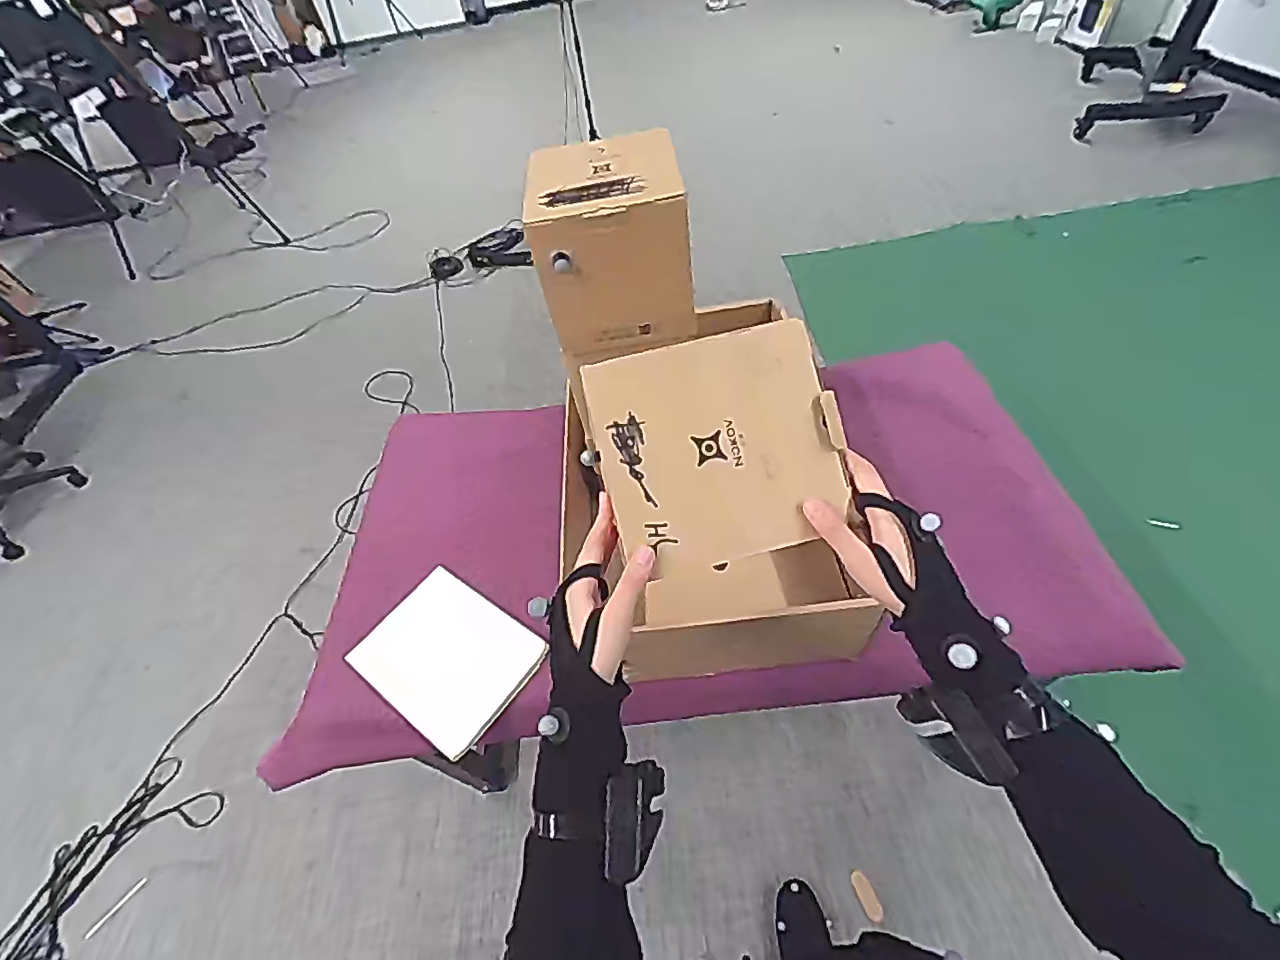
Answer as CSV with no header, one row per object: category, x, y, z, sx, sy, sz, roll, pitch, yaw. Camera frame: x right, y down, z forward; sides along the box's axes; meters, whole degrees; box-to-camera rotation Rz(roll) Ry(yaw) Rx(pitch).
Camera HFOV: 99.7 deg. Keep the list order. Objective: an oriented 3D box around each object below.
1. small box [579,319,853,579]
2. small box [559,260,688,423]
small box,0.050,-0.017,0.473,0.179,0.176,0.168,-13,84,-5
small box,-0.012,-0.184,0.780,0.168,0.176,0.179,-6,52,5
